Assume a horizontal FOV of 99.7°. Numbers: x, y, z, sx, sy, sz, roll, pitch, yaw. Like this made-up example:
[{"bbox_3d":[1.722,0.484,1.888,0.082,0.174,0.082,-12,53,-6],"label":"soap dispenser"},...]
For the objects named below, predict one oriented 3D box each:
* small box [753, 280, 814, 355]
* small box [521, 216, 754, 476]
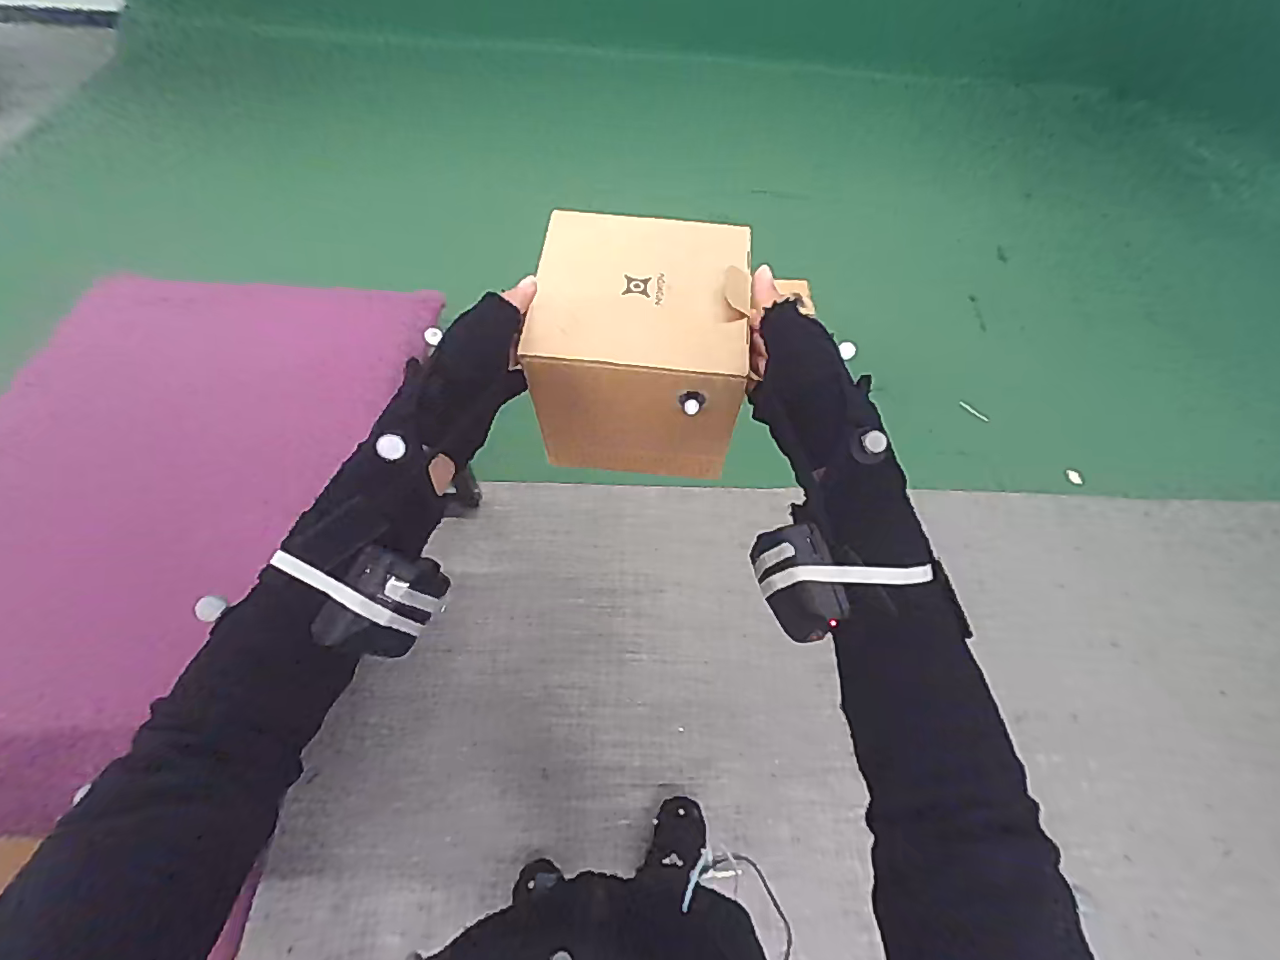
[{"bbox_3d":[0.455,-0.533,1.786,0.179,0.176,0.168,3,55,-2],"label":"small box"},{"bbox_3d":[0.004,-0.116,0.507,0.179,0.176,0.168,5,62,2],"label":"small box"}]
